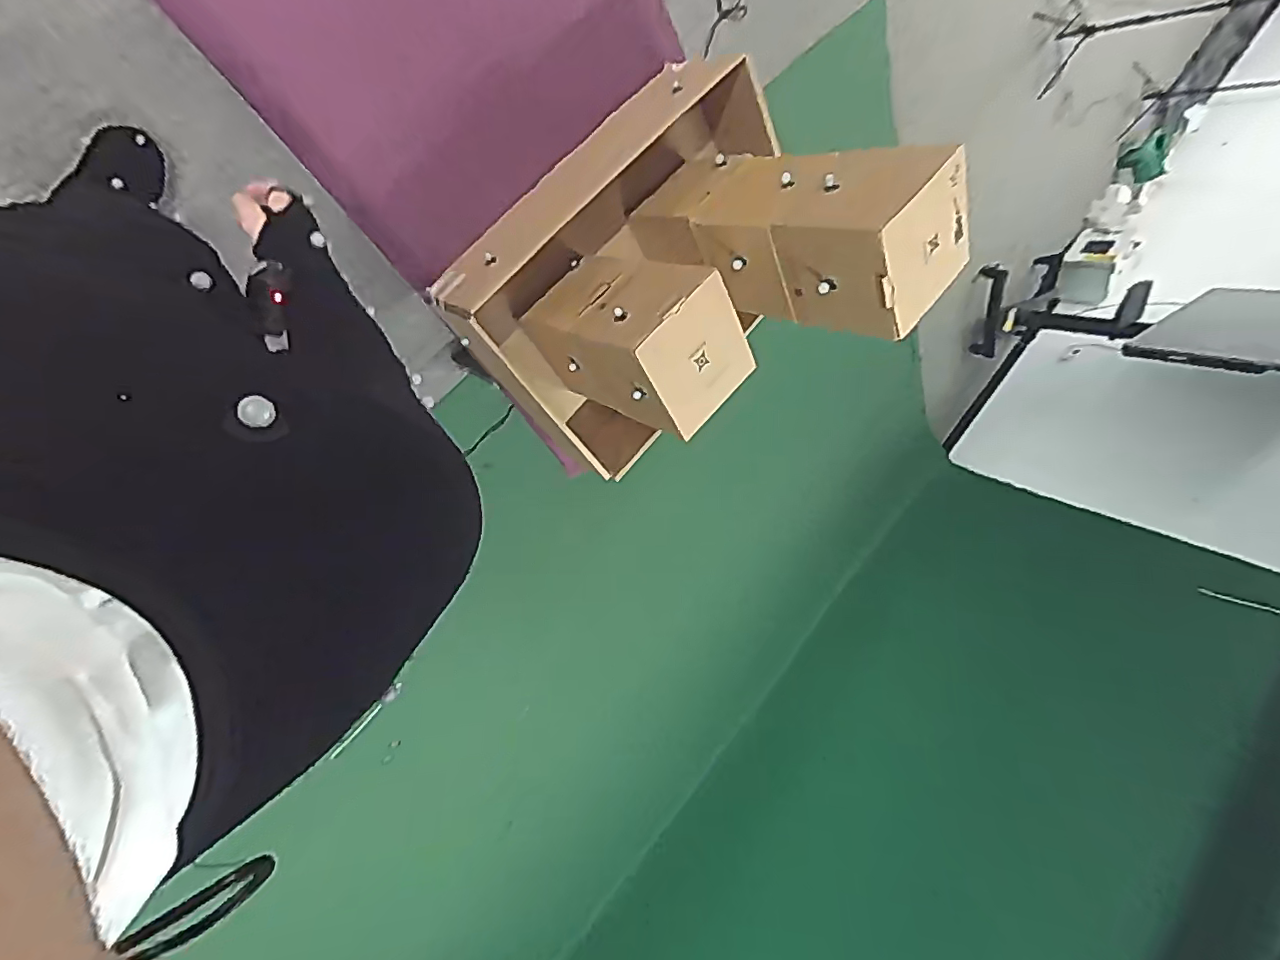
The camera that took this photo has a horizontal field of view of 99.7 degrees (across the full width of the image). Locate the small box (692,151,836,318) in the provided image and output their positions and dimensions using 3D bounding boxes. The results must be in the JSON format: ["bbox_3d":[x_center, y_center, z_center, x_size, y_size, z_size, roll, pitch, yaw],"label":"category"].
[{"bbox_3d":[0.205,-0.387,0.859,0.179,0.176,0.168,-47,134,-12],"label":"small box"}]

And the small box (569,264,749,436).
[{"bbox_3d":[0.026,-0.197,0.797,0.168,0.176,0.179,-47,133,-13],"label":"small box"}]

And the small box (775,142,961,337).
[{"bbox_3d":[0.306,-0.328,0.743,0.179,0.176,0.168,-46,134,-11],"label":"small box"}]
